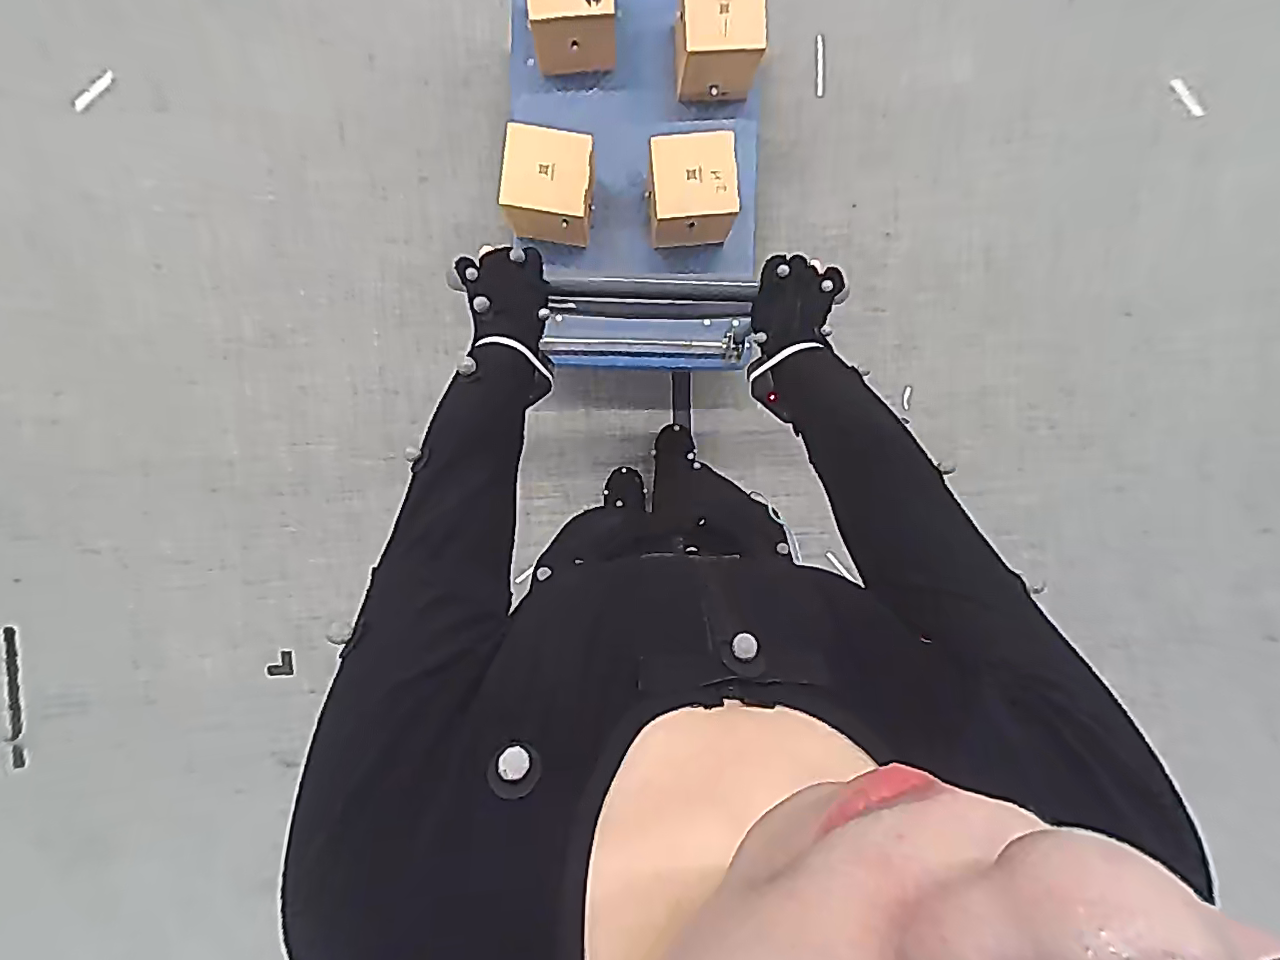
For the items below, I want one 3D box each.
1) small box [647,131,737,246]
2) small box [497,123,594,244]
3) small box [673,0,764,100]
[{"bbox_3d":[0.106,-0.628,1.183,0.179,0.176,0.168,-5,94,-2],"label":"small box"},{"bbox_3d":[-0.198,-0.631,1.173,0.179,0.176,0.168,7,93,-4],"label":"small box"},{"bbox_3d":[0.163,-0.960,1.161,0.168,0.176,0.179,-3,95,-1],"label":"small box"}]
